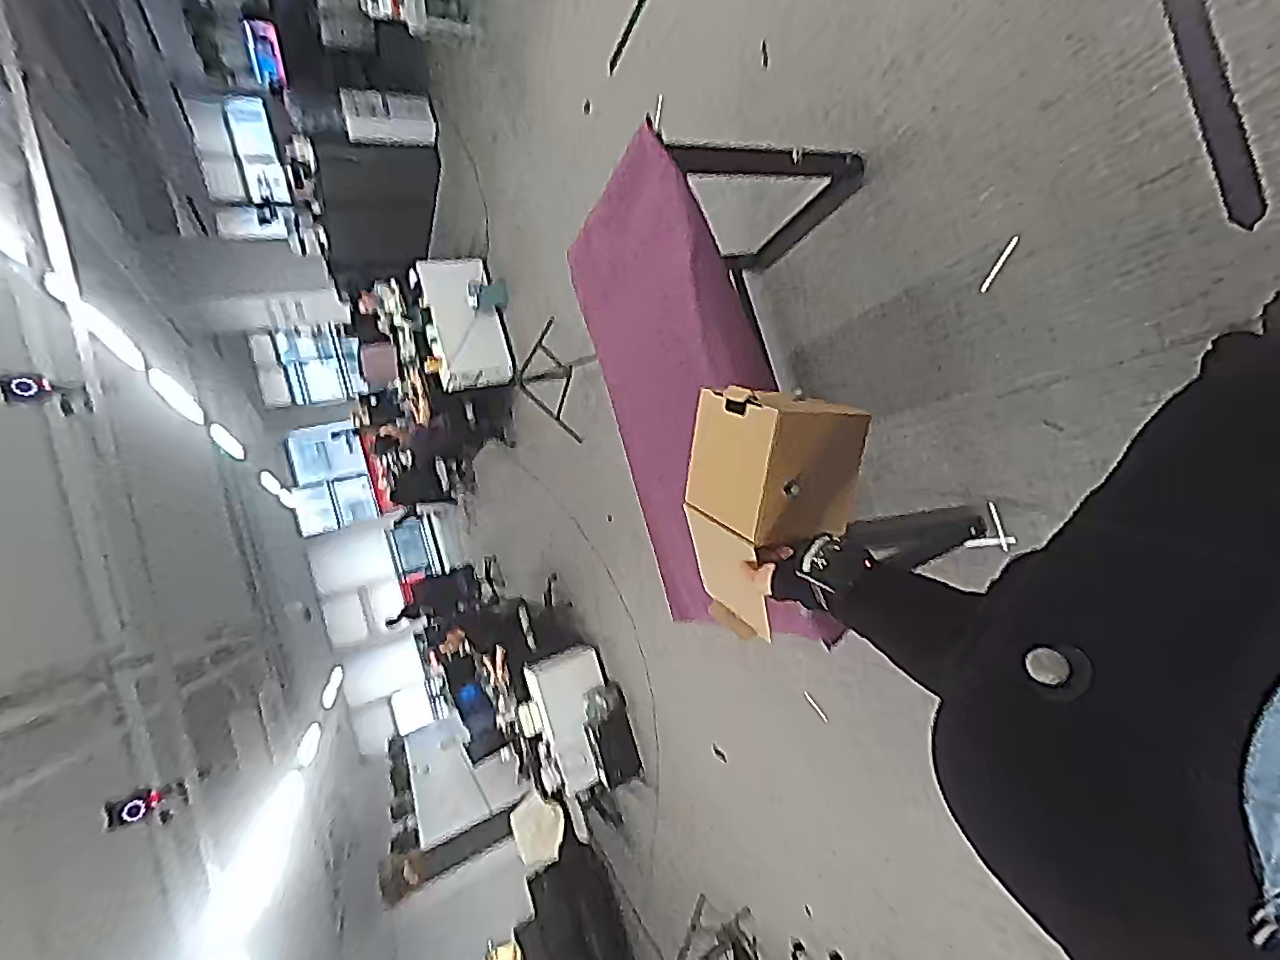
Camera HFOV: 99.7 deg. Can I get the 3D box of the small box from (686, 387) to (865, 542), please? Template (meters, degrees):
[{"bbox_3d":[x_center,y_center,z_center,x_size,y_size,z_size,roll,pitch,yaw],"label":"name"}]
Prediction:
[{"bbox_3d":[0.187,-0.030,0.764,0.168,0.176,0.179,32,119,56],"label":"small box"}]
